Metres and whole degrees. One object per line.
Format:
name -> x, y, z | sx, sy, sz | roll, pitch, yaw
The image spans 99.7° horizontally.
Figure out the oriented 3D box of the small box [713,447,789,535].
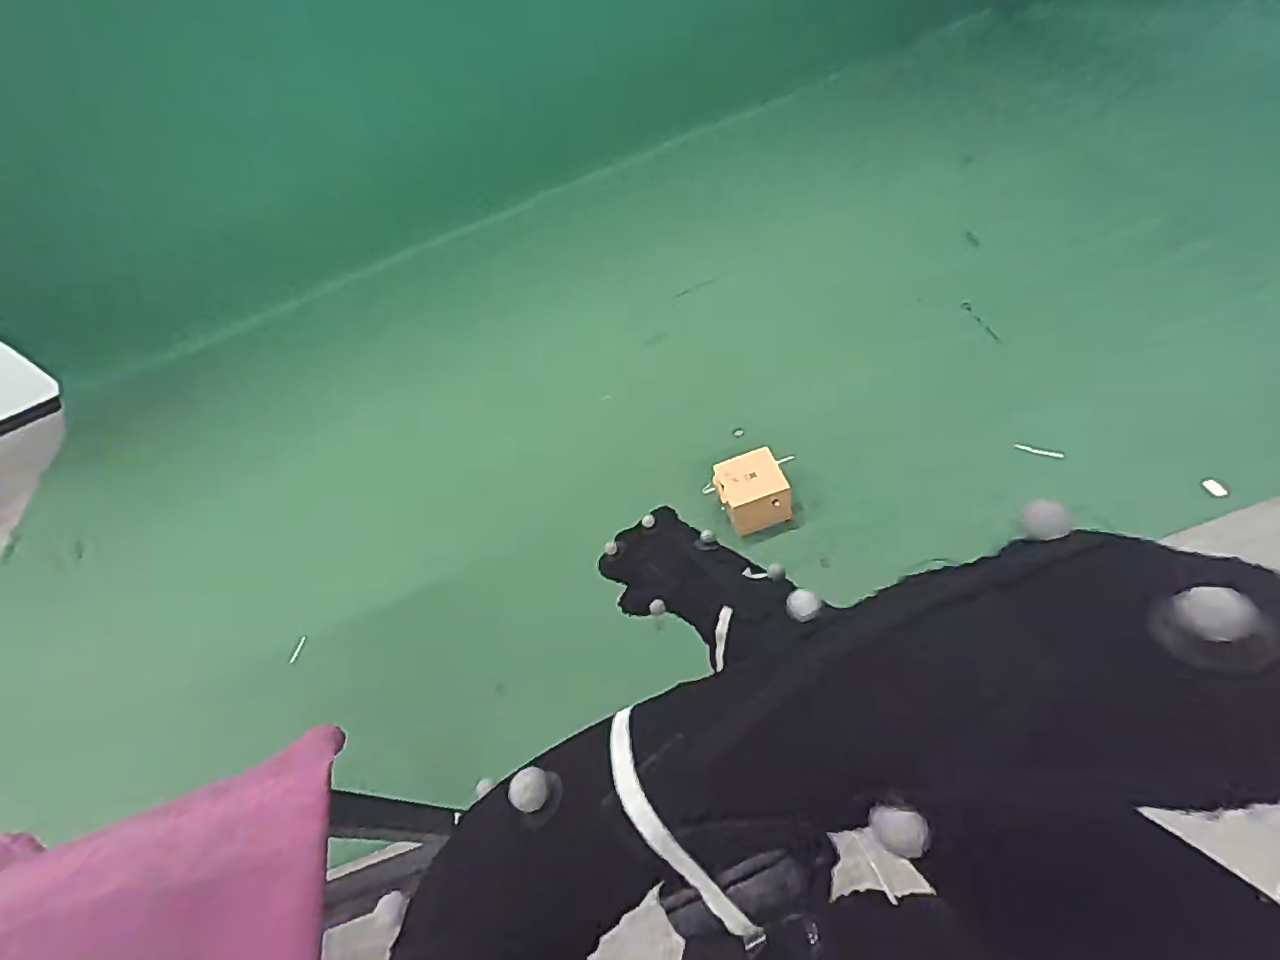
small box -> 0.333, 0.037, 1.616 | 0.179, 0.176, 0.168 | -20, 51, 2
